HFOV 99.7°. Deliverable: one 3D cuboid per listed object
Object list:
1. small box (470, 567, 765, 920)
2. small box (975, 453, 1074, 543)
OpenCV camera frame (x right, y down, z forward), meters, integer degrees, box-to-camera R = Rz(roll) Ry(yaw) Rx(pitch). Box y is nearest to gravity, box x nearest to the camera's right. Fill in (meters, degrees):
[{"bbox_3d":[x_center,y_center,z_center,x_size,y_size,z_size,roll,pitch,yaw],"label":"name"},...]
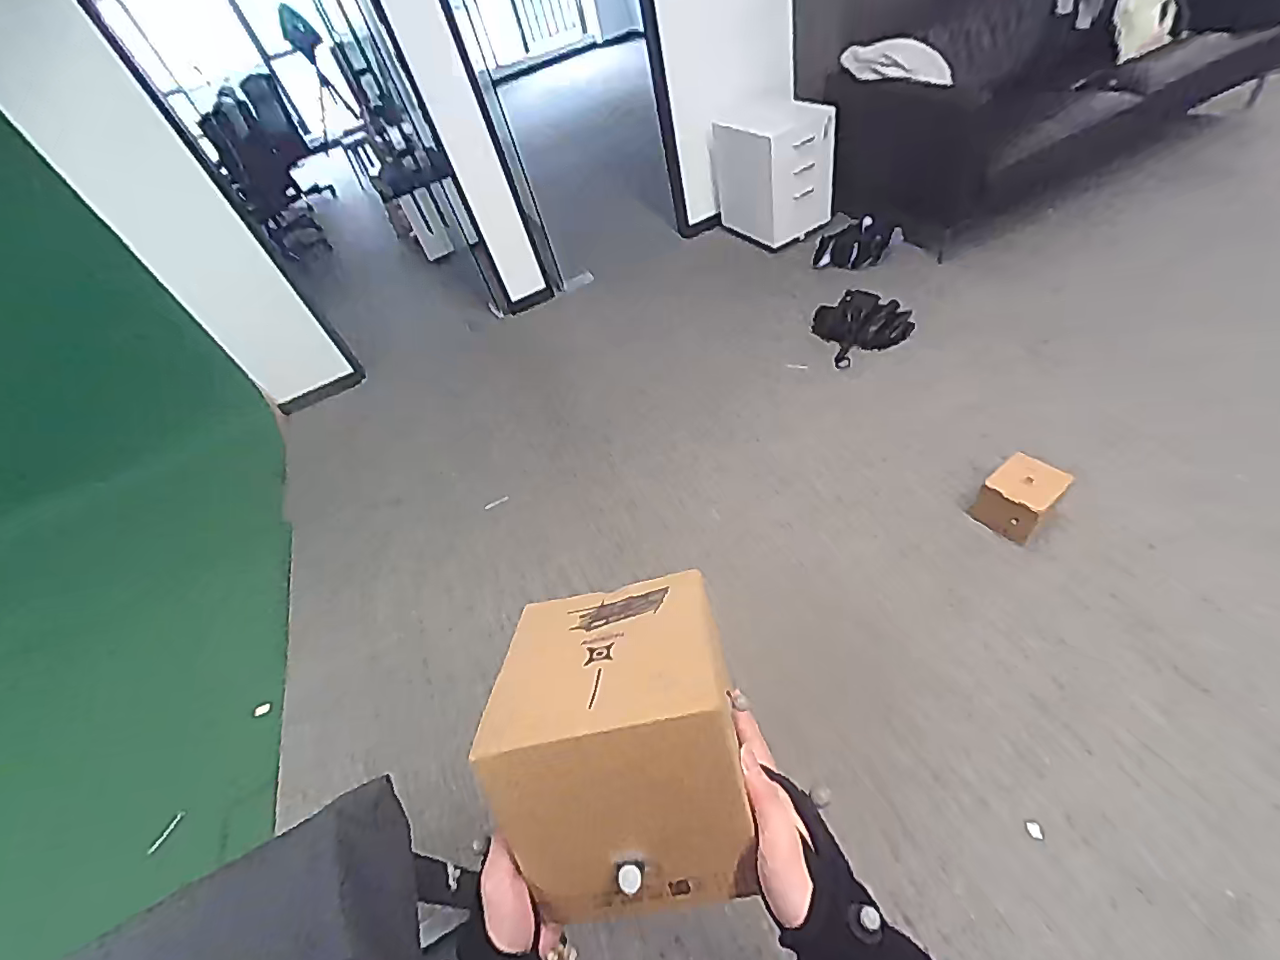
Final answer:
[{"bbox_3d":[-0.007,0.199,0.435,0.168,0.176,0.179,-14,20,6],"label":"small box"},{"bbox_3d":[1.145,0.057,1.626,0.179,0.176,0.168,-35,50,-17],"label":"small box"}]
